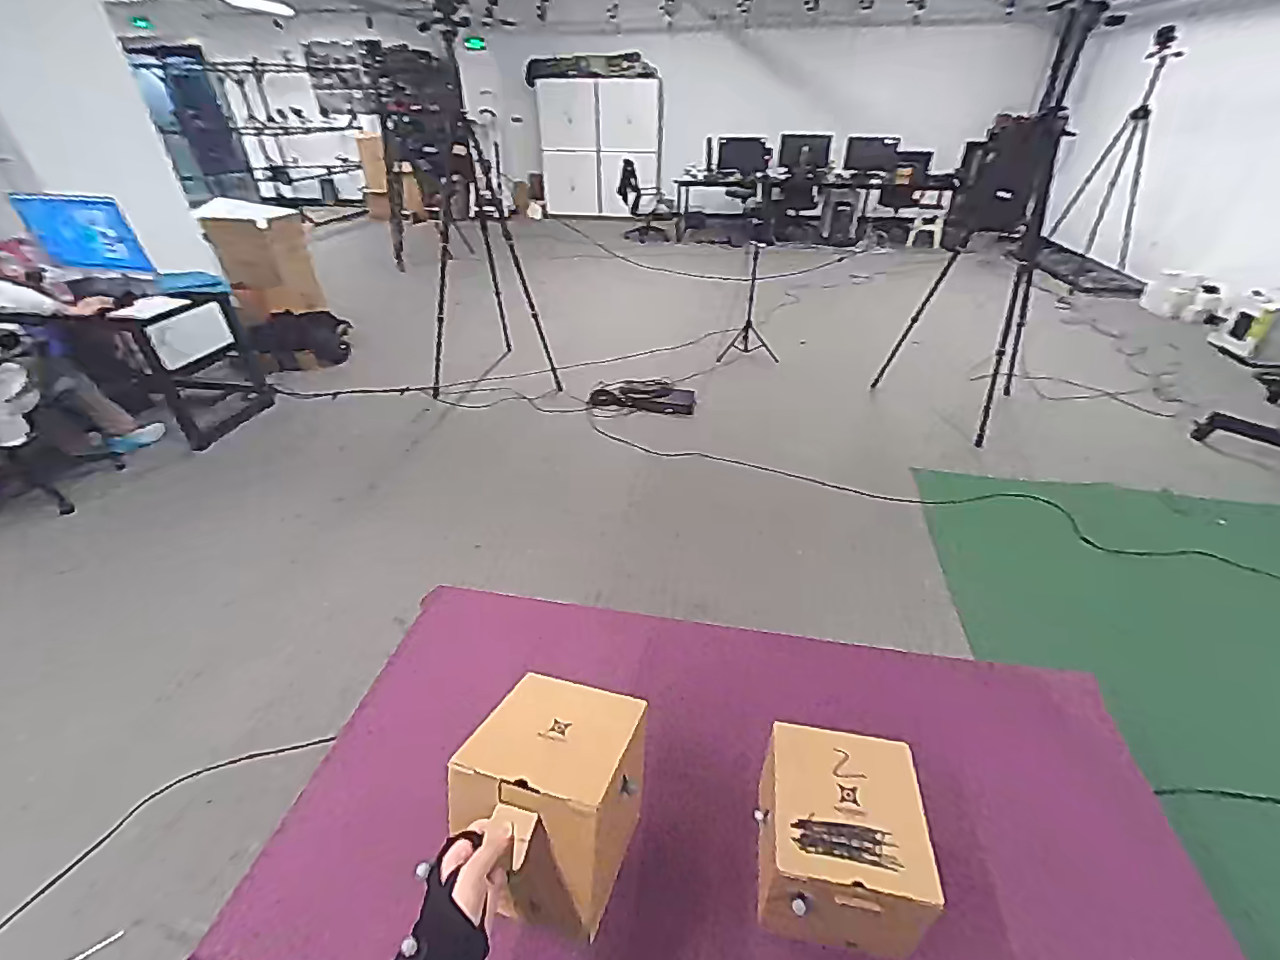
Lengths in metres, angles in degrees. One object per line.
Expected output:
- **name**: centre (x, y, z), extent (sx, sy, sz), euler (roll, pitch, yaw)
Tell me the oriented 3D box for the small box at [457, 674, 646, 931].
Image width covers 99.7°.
- **small box**: centre (-0.100, 0.366, 0.642), extent (0.168, 0.176, 0.179), euler (7, 14, 15)
